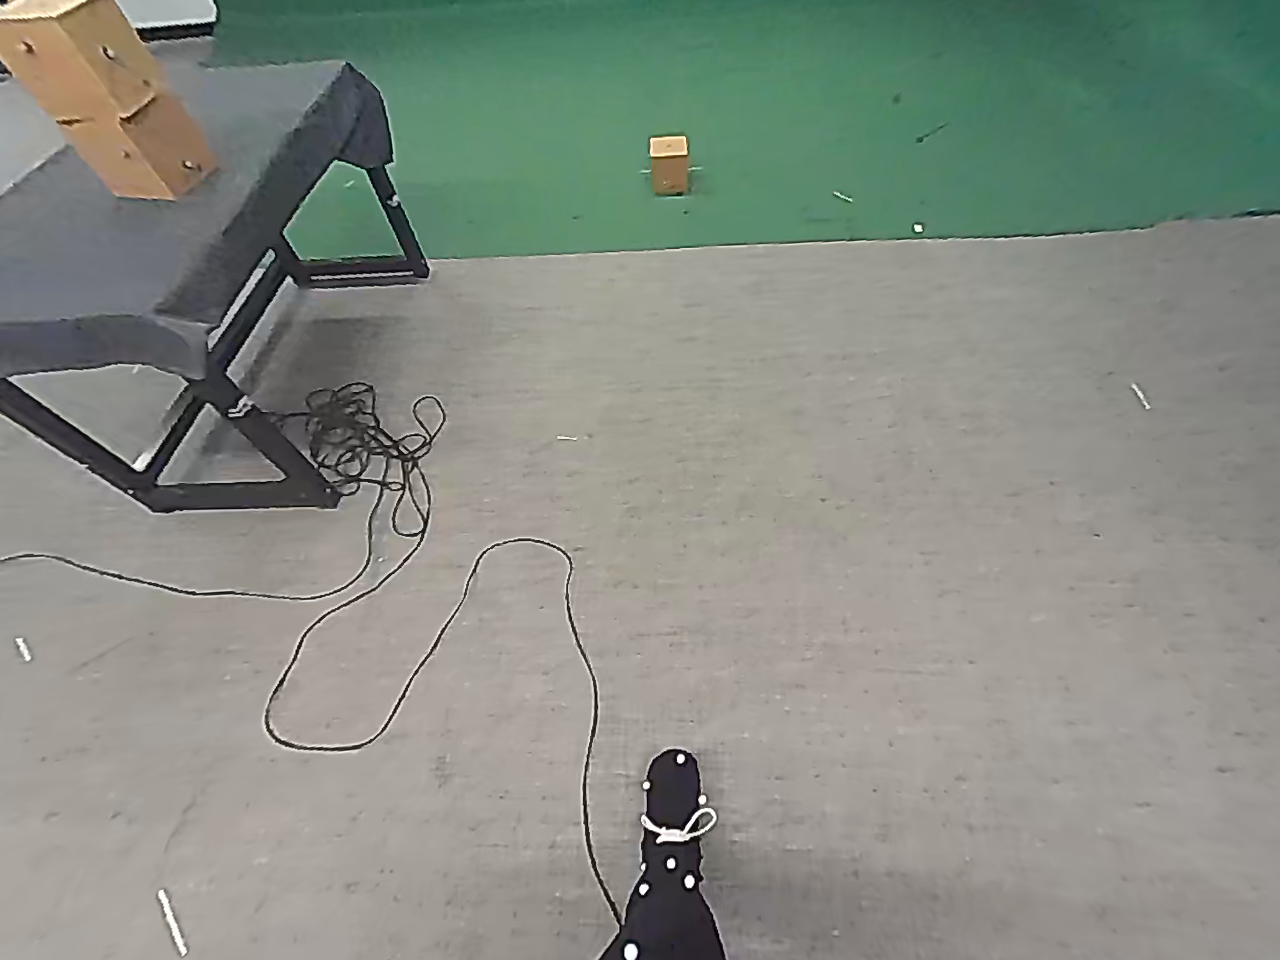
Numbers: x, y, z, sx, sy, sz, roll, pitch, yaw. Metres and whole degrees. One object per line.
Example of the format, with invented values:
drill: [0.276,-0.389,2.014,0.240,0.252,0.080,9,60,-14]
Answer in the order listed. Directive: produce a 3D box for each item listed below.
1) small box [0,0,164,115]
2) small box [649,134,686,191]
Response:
small box: [-1.128,-0.861,1.085,0.179,0.176,0.168,1,56,5]
small box: [0.126,-1.455,2.479,0.168,0.176,0.179,-2,57,4]
